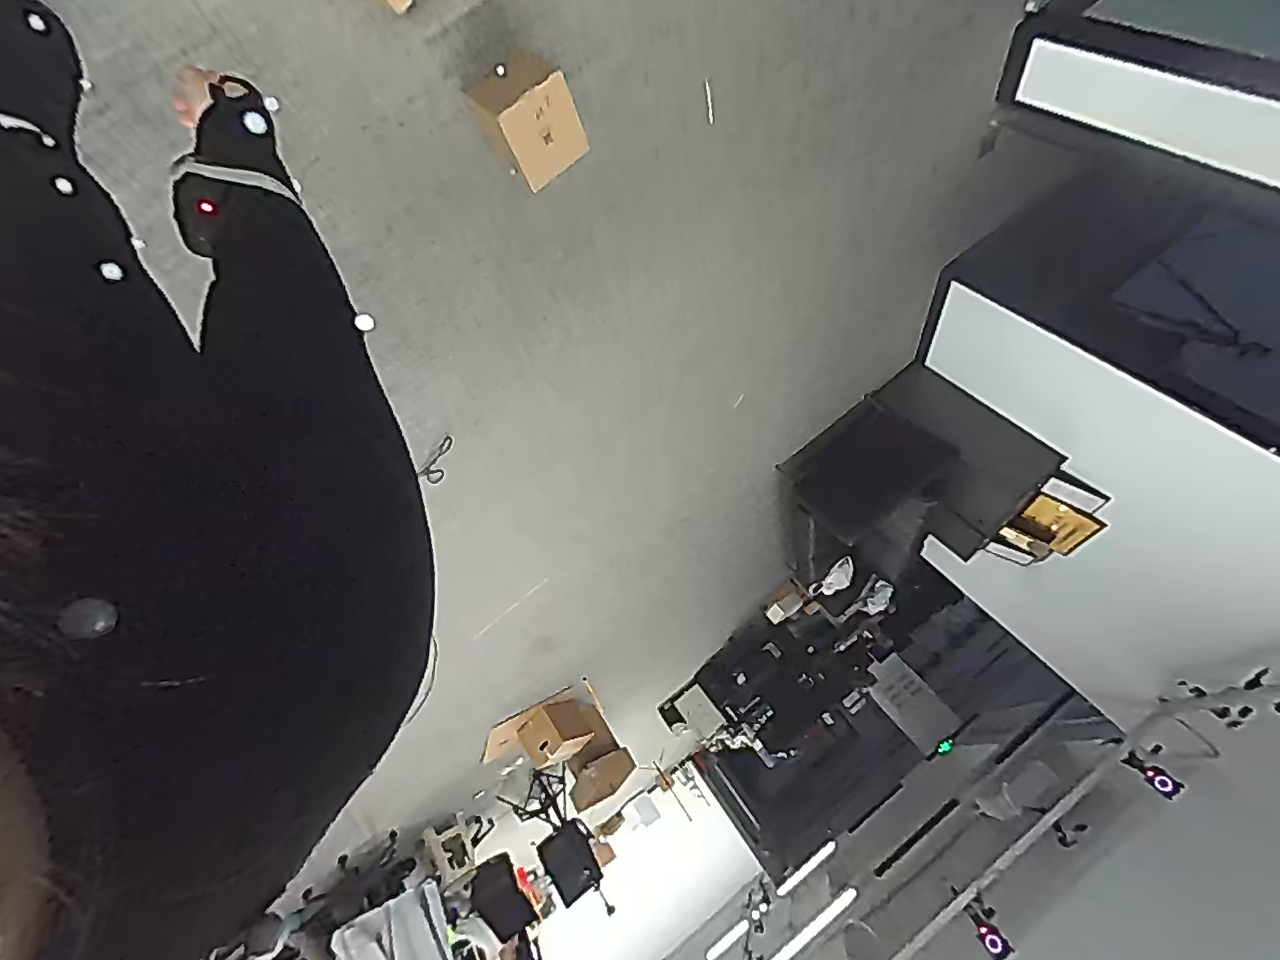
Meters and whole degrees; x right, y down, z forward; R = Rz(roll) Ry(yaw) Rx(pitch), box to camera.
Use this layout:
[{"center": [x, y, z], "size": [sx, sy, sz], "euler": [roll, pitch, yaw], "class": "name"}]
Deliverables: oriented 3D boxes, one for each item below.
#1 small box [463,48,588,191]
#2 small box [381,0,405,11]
[{"center": [-0.246, -0.780, 1.171], "size": [0.168, 0.176, 0.179], "euler": [-40, 151, -4], "class": "small box"}, {"center": [-0.419, -0.886, 0.828], "size": [0.179, 0.176, 0.168], "euler": [-47, 150, 11], "class": "small box"}]
